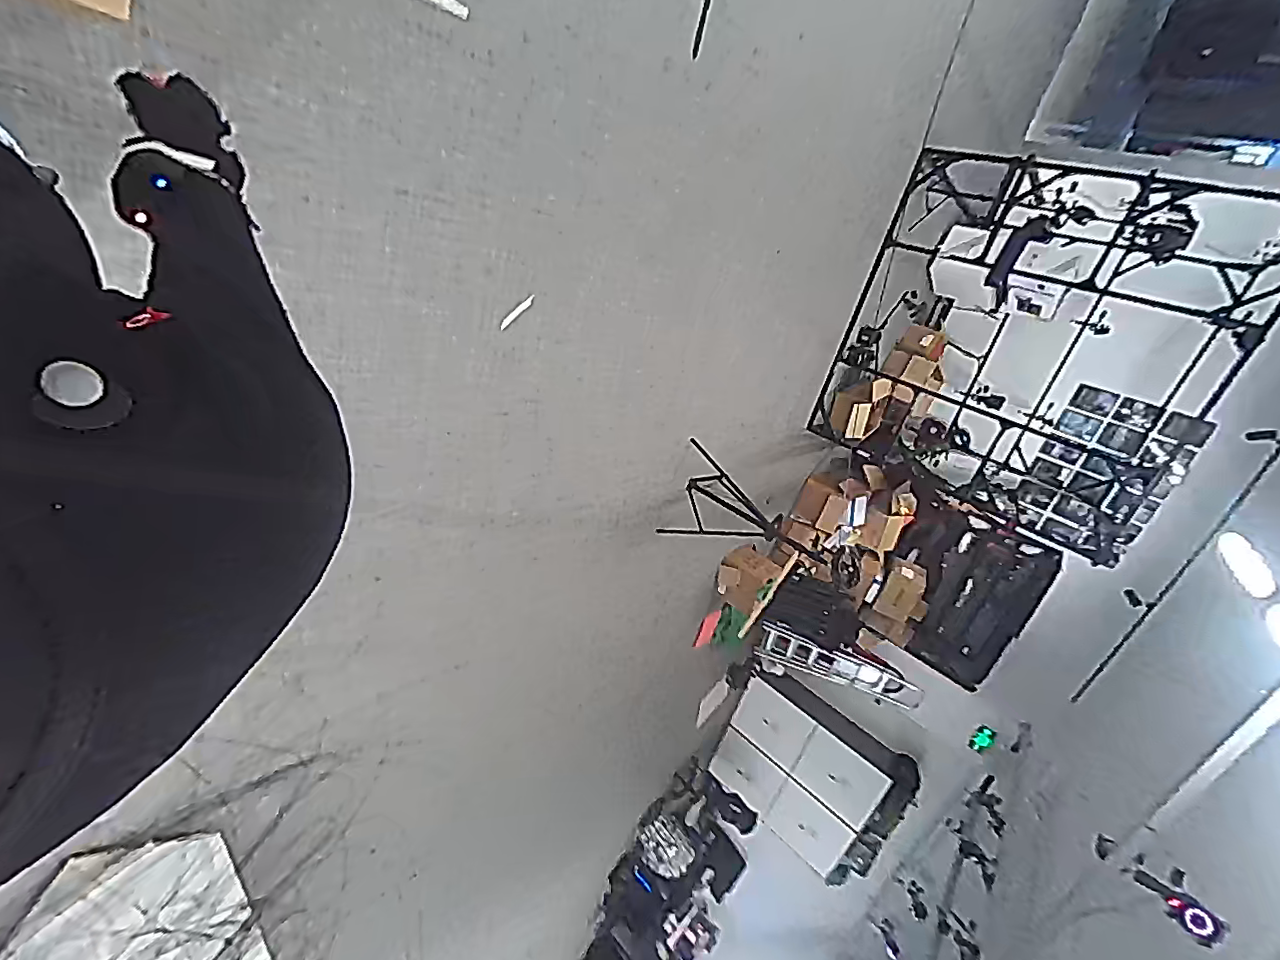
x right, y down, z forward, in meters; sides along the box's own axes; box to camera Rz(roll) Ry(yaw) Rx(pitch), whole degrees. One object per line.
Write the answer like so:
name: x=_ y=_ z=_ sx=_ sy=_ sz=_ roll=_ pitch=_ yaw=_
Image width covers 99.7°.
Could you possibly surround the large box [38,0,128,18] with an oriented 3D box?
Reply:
large box: x=-0.909 y=-0.820 z=0.624 sx=0.408 sy=0.320 sz=0.320 roll=-12 pitch=127 yaw=-51
